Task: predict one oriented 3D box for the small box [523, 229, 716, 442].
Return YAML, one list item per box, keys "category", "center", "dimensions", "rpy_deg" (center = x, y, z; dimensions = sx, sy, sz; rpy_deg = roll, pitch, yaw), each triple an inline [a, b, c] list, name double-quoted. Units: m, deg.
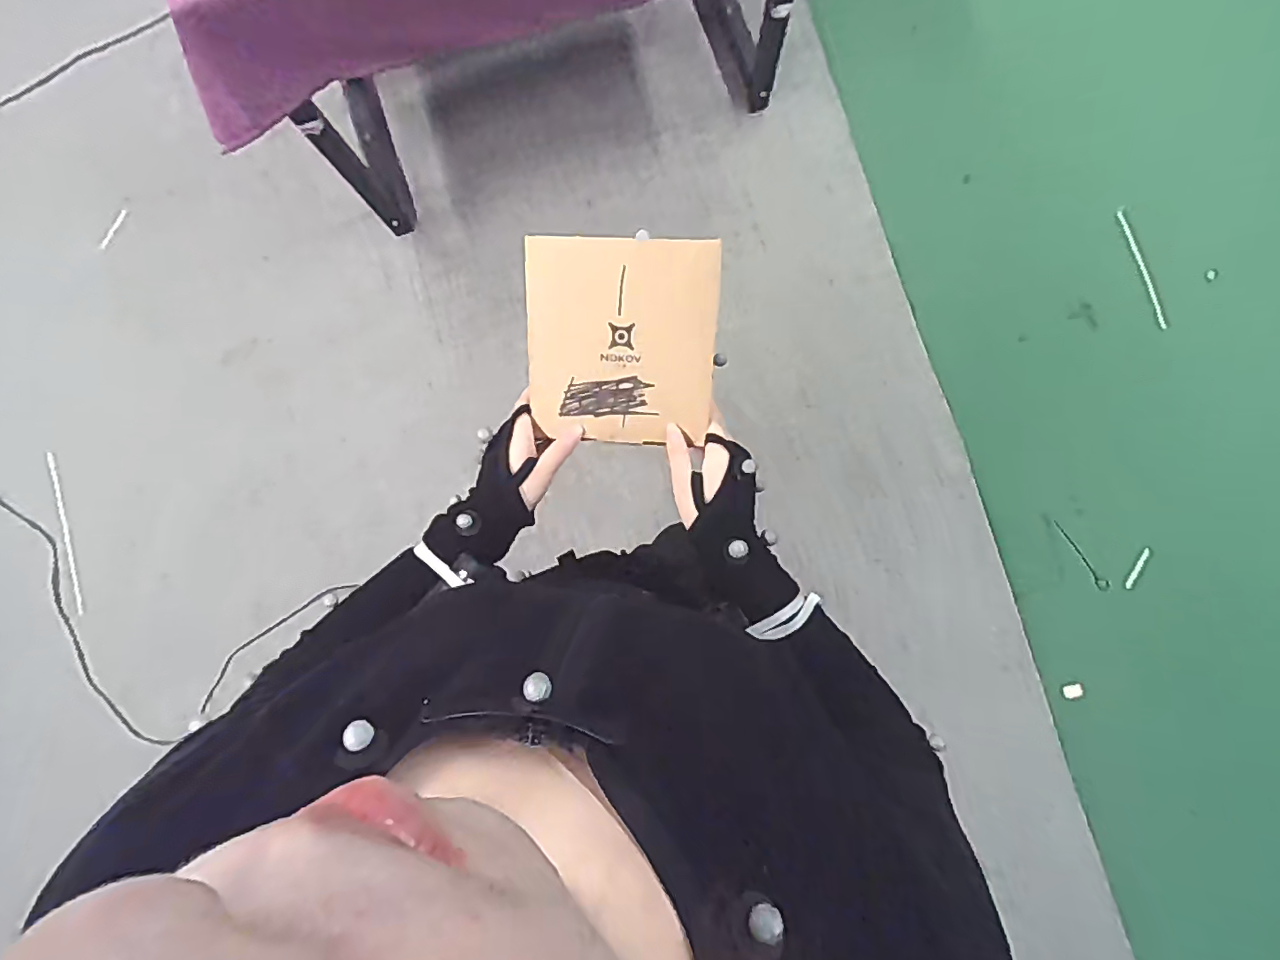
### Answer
- category: "small box"
  center: [-0.014, -0.148, 0.550]
  dimensions: [0.168, 0.176, 0.179]
  rpy_deg: [4, 108, 4]
